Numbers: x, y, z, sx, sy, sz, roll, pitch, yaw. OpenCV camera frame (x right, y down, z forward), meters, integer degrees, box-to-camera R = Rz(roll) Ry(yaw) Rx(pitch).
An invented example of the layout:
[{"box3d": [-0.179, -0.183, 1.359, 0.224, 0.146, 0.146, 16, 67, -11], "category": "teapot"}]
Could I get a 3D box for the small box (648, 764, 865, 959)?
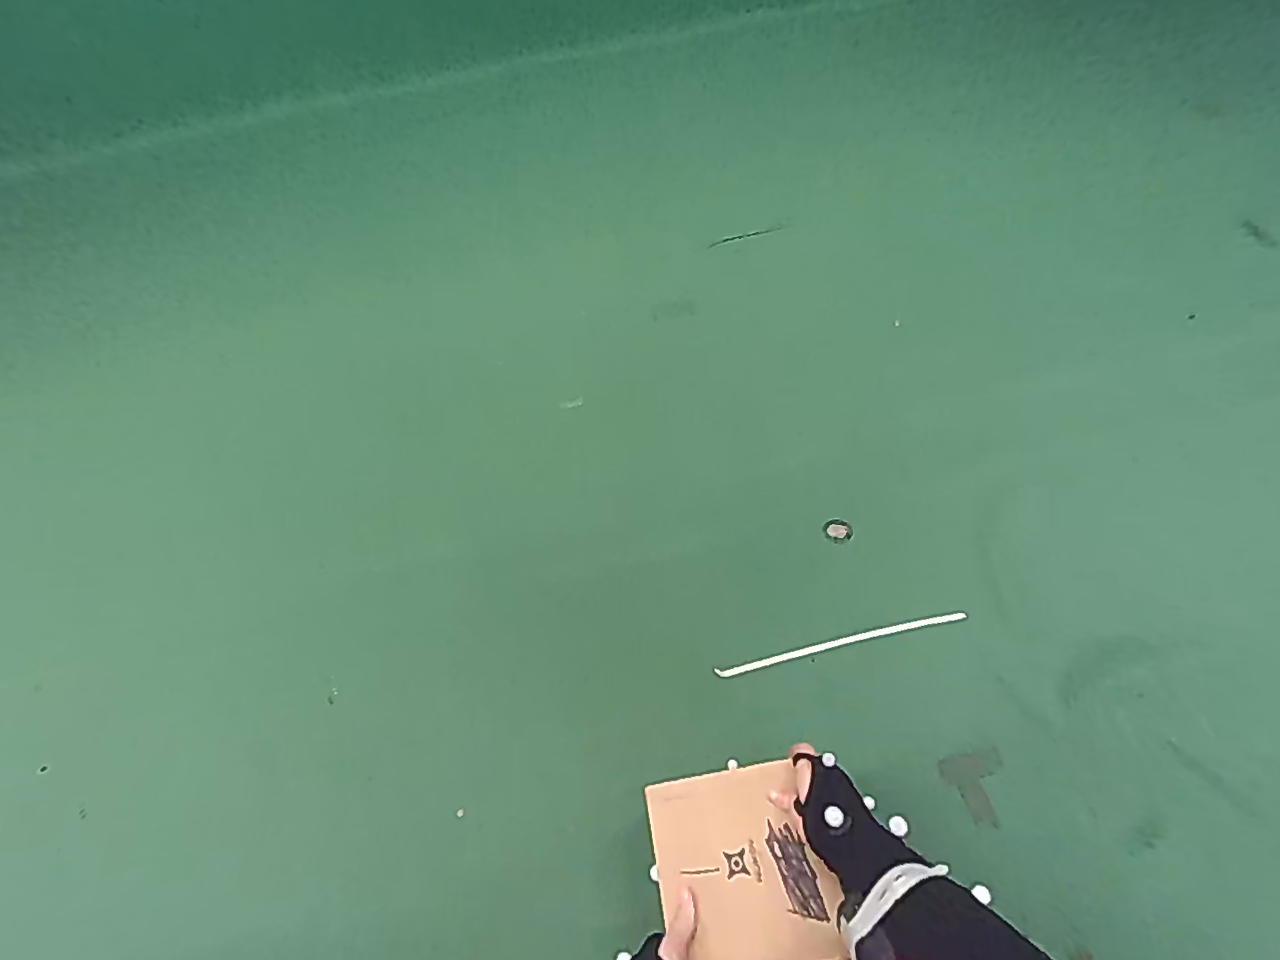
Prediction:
[{"box3d": [0.113, 0.424, 0.589, 0.179, 0.176, 0.168, -12, 54, 1], "category": "small box"}]
